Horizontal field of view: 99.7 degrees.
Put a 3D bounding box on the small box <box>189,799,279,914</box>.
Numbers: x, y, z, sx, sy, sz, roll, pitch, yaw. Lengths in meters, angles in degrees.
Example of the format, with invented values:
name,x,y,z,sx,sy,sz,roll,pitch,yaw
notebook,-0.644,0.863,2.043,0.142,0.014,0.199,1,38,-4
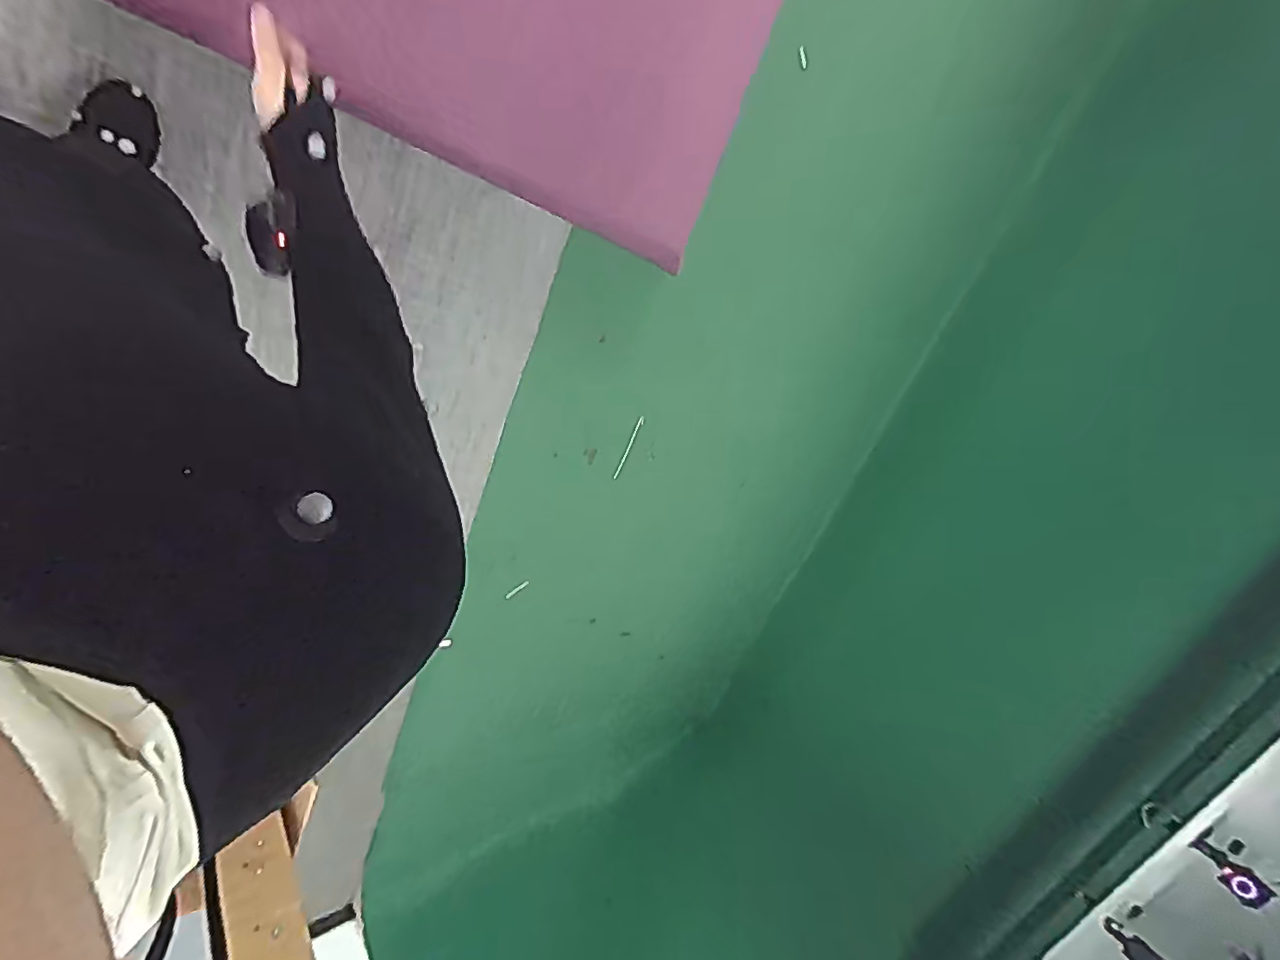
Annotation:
name,x,y,z,sx,sy,sz,roll,pitch,yaw
small box,-1.148,1.050,1.523,0.168,0.176,0.179,6,116,-48

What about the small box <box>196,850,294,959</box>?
name,x,y,z,sx,sy,sz,roll,pitch,yaw
small box,-1.046,1.131,1.424,0.168,0.176,0.179,8,114,-50

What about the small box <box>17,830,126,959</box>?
name,x,y,z,sx,sy,sz,roll,pitch,yaw
small box,-1.324,0.959,1.260,0.168,0.176,0.179,3,119,-47

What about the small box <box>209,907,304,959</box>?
name,x,y,z,sx,sy,sz,roll,pitch,yaw
small box,-0.947,1.212,1.325,0.168,0.176,0.179,10,112,-49
